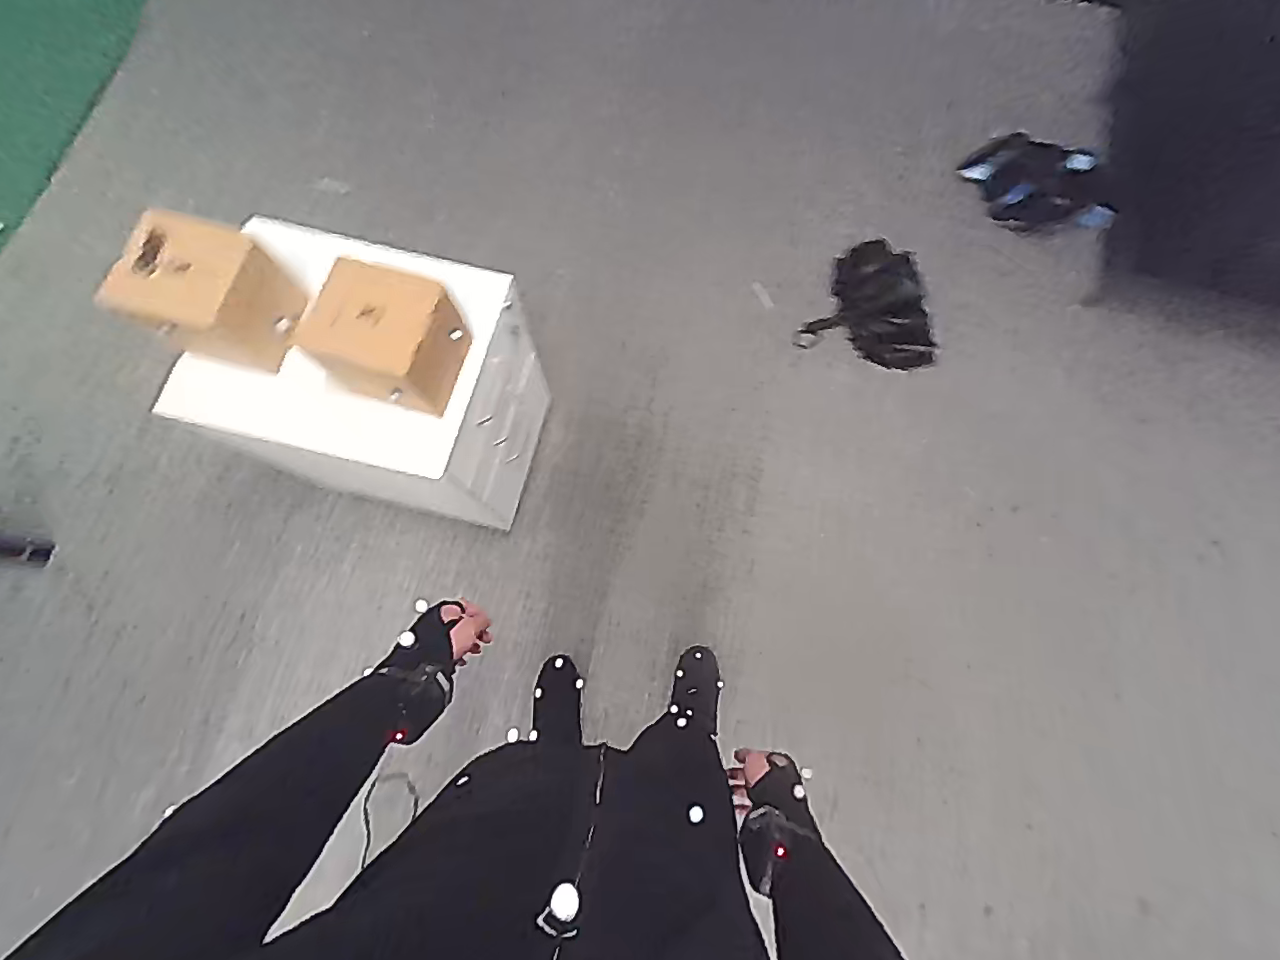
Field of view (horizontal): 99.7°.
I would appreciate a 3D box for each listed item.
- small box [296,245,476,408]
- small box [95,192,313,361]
[{"bbox_3d":[-0.381,-0.229,0.851,0.179,0.176,0.168,16,75,3],"label":"small box"},{"bbox_3d":[-0.669,-0.310,0.856,0.179,0.176,0.168,15,76,-1],"label":"small box"}]
